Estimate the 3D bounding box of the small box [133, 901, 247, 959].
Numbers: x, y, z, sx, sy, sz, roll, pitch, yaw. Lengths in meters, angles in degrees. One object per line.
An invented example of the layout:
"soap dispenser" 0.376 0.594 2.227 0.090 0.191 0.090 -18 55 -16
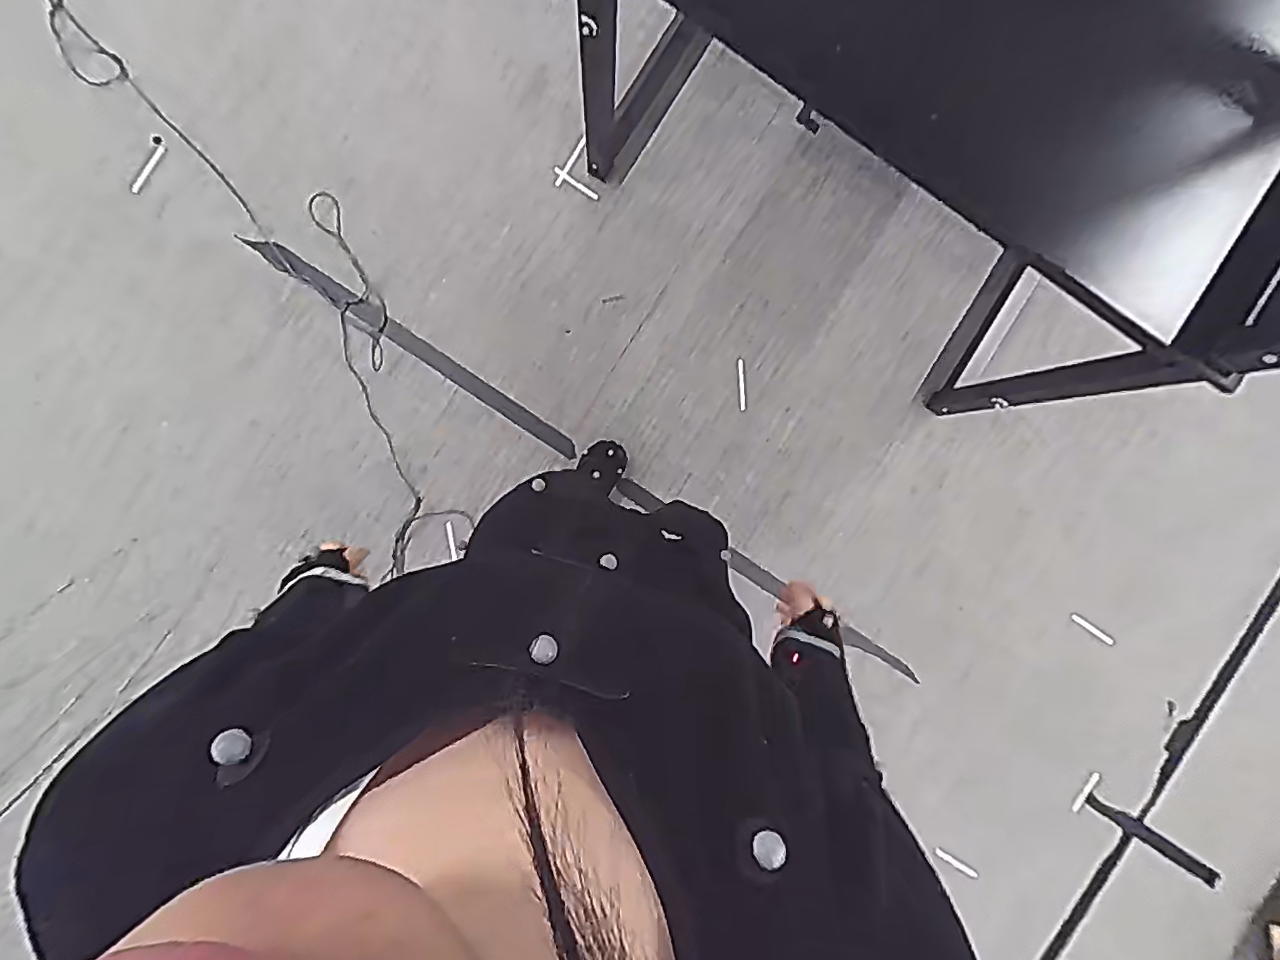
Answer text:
"small box" -1.170 1.235 1.383 0.179 0.176 0.168 27 92 -5
